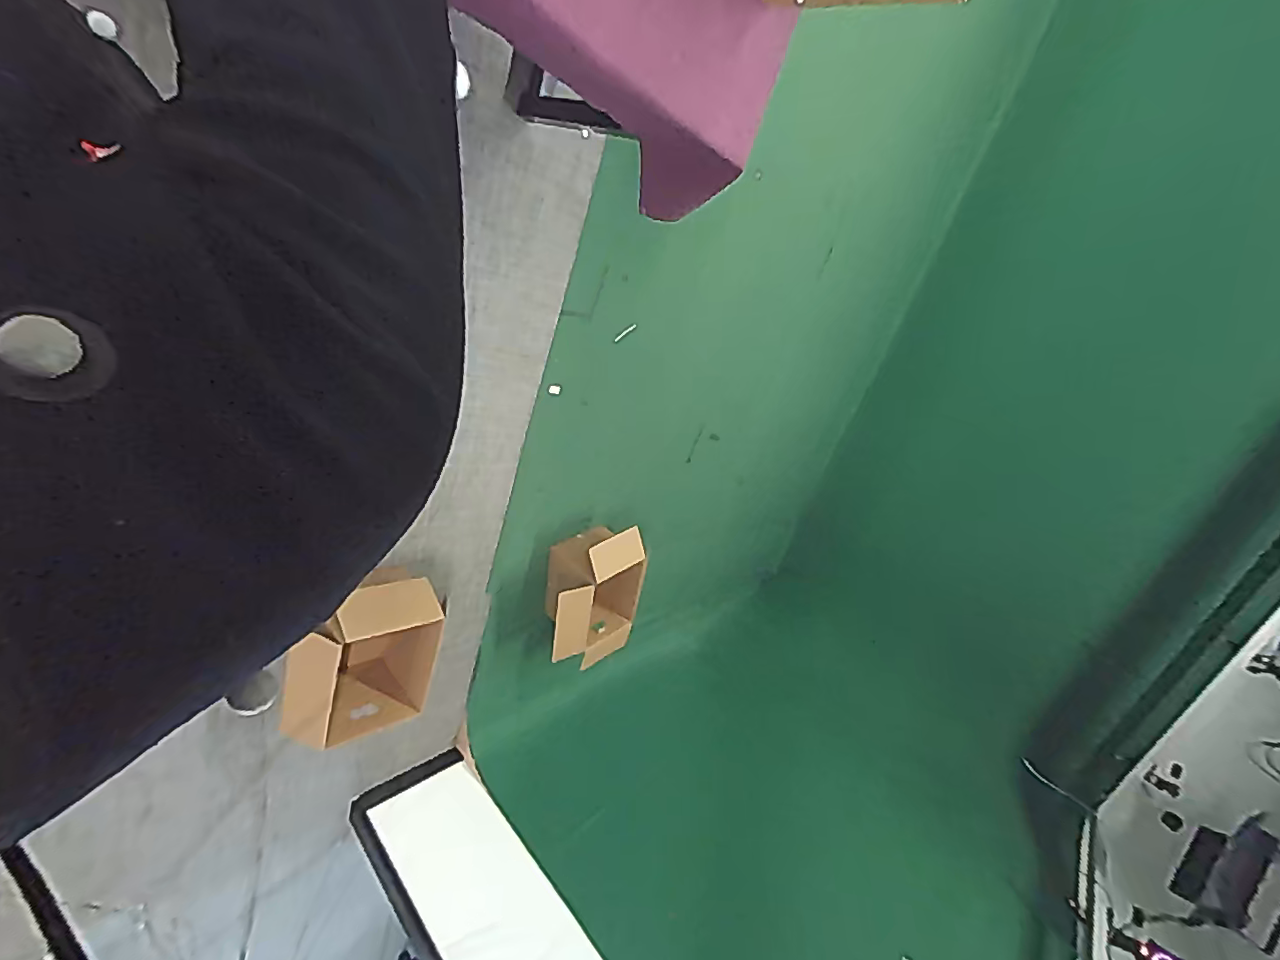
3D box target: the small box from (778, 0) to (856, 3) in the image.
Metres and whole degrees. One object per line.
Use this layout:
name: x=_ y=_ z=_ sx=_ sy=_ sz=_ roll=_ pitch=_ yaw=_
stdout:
small box: x=0.256 y=-0.851 z=0.795 sx=0.168 sy=0.176 sz=0.179 roll=-4 pitch=121 yaw=-50
